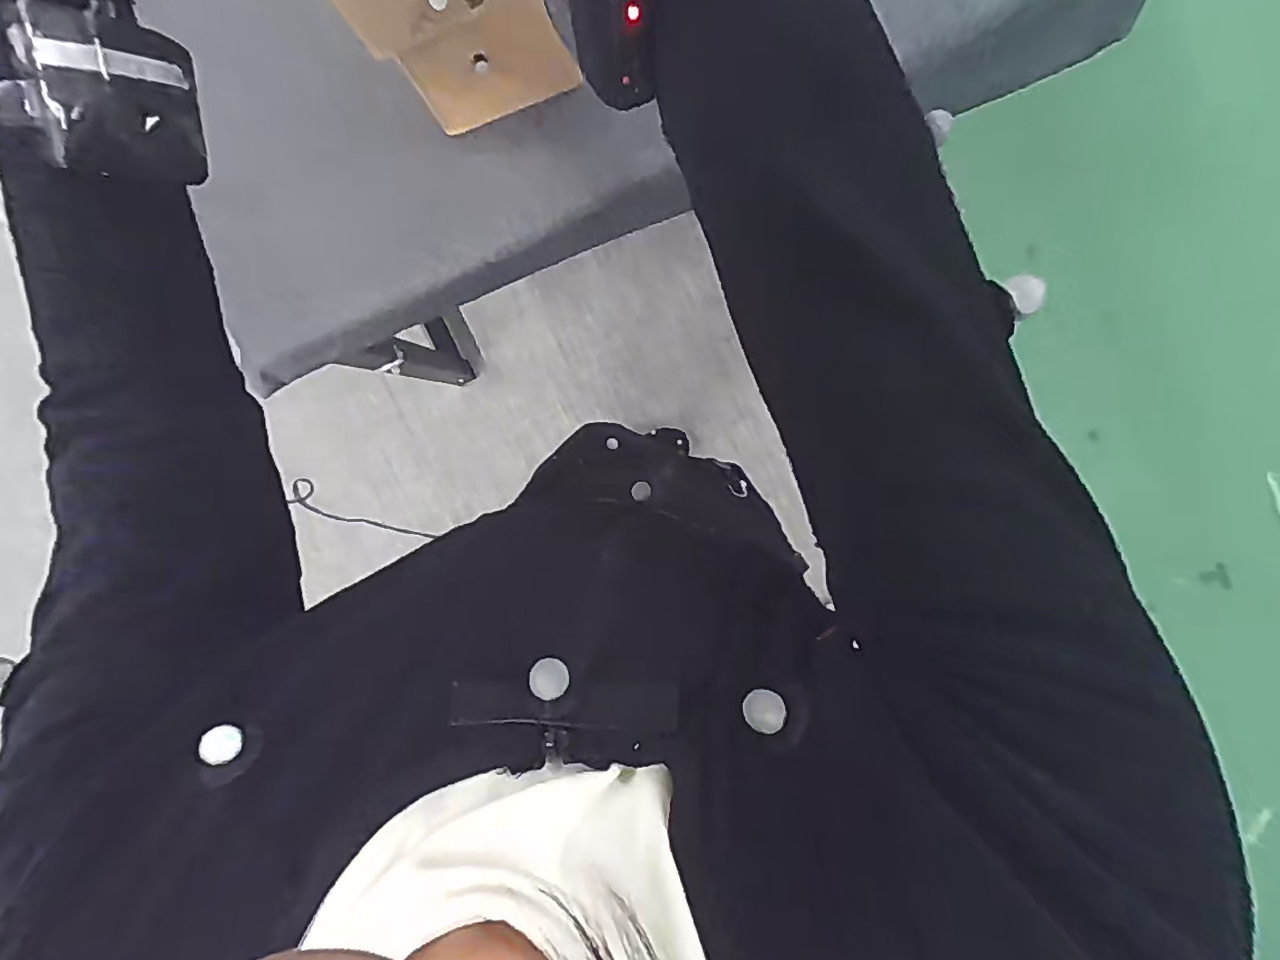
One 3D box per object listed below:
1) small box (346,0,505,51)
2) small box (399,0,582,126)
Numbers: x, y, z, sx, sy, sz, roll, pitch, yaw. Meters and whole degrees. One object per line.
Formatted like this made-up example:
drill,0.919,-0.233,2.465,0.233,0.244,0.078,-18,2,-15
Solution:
small box,-0.197,-0.486,0.400,0.168,0.176,0.179,-24,94,5
small box,-0.176,-0.514,0.562,0.179,0.176,0.168,-19,96,5
